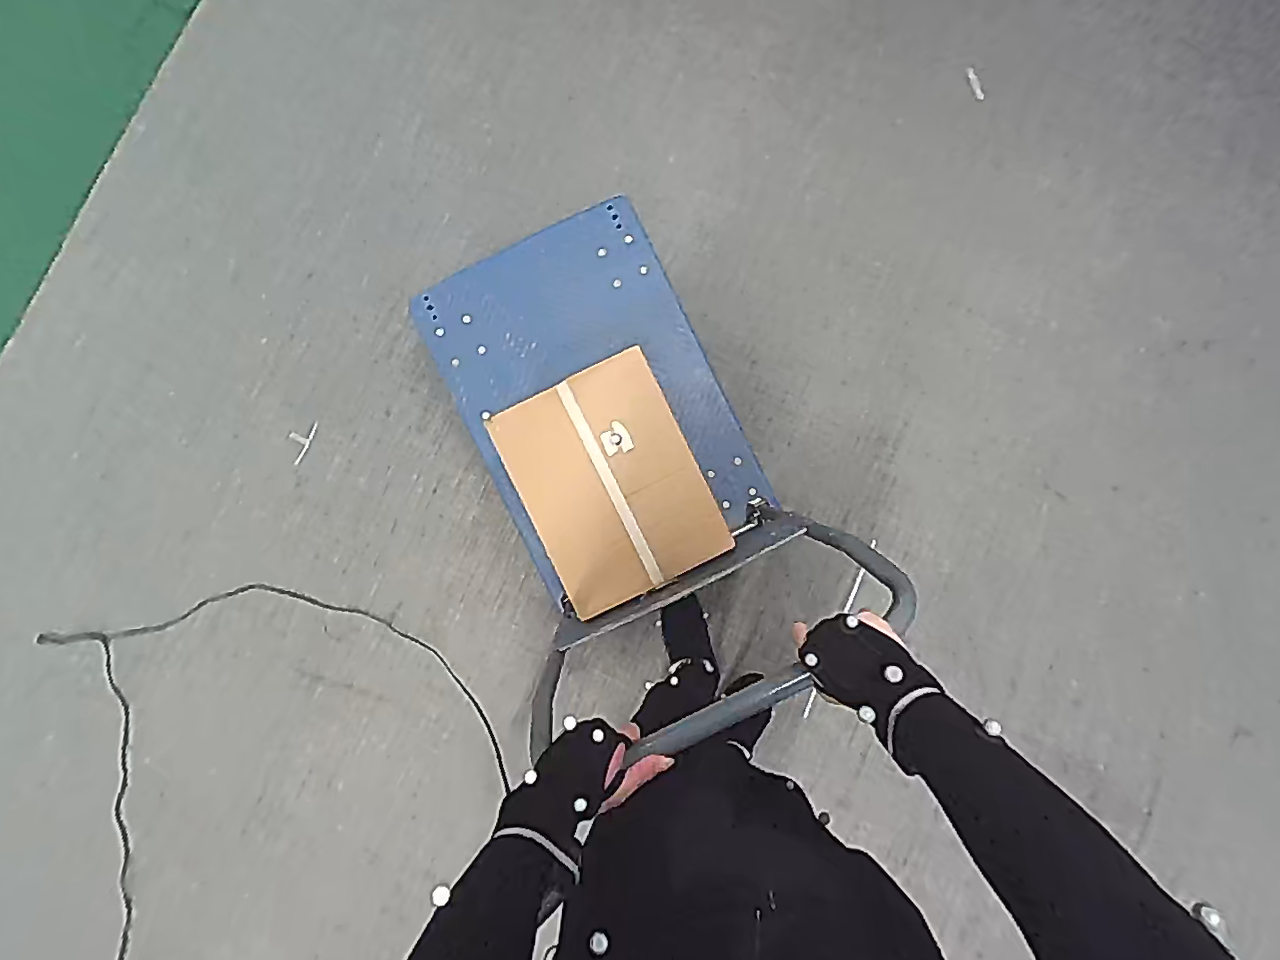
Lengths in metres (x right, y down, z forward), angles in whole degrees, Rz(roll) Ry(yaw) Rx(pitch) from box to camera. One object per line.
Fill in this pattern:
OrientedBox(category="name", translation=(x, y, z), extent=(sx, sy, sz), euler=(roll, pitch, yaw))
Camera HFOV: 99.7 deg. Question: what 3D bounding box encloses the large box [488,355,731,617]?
OrientedBox(category="large box", translation=(-0.052, 0.013, 1.138), extent=(0.320, 0.320, 0.408), euler=(-26, 89, 0))
